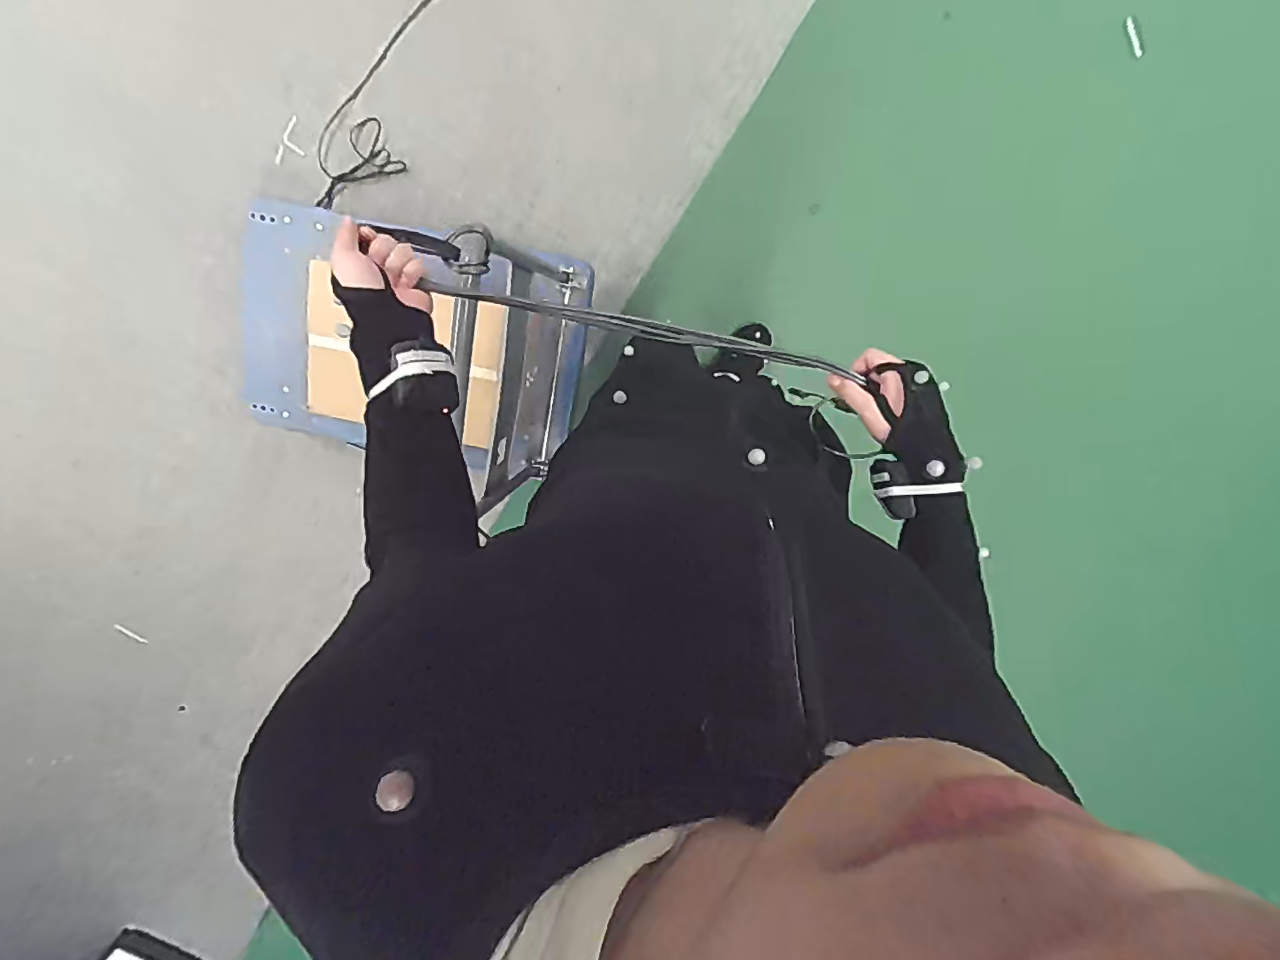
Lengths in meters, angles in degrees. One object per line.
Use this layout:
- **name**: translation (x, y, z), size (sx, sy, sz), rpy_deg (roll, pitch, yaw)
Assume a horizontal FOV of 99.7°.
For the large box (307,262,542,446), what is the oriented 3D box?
- **large box**: translation (-0.467, -0.287, 1.235), size (0.408, 0.320, 0.320), rpy_deg (11, 105, 1)
